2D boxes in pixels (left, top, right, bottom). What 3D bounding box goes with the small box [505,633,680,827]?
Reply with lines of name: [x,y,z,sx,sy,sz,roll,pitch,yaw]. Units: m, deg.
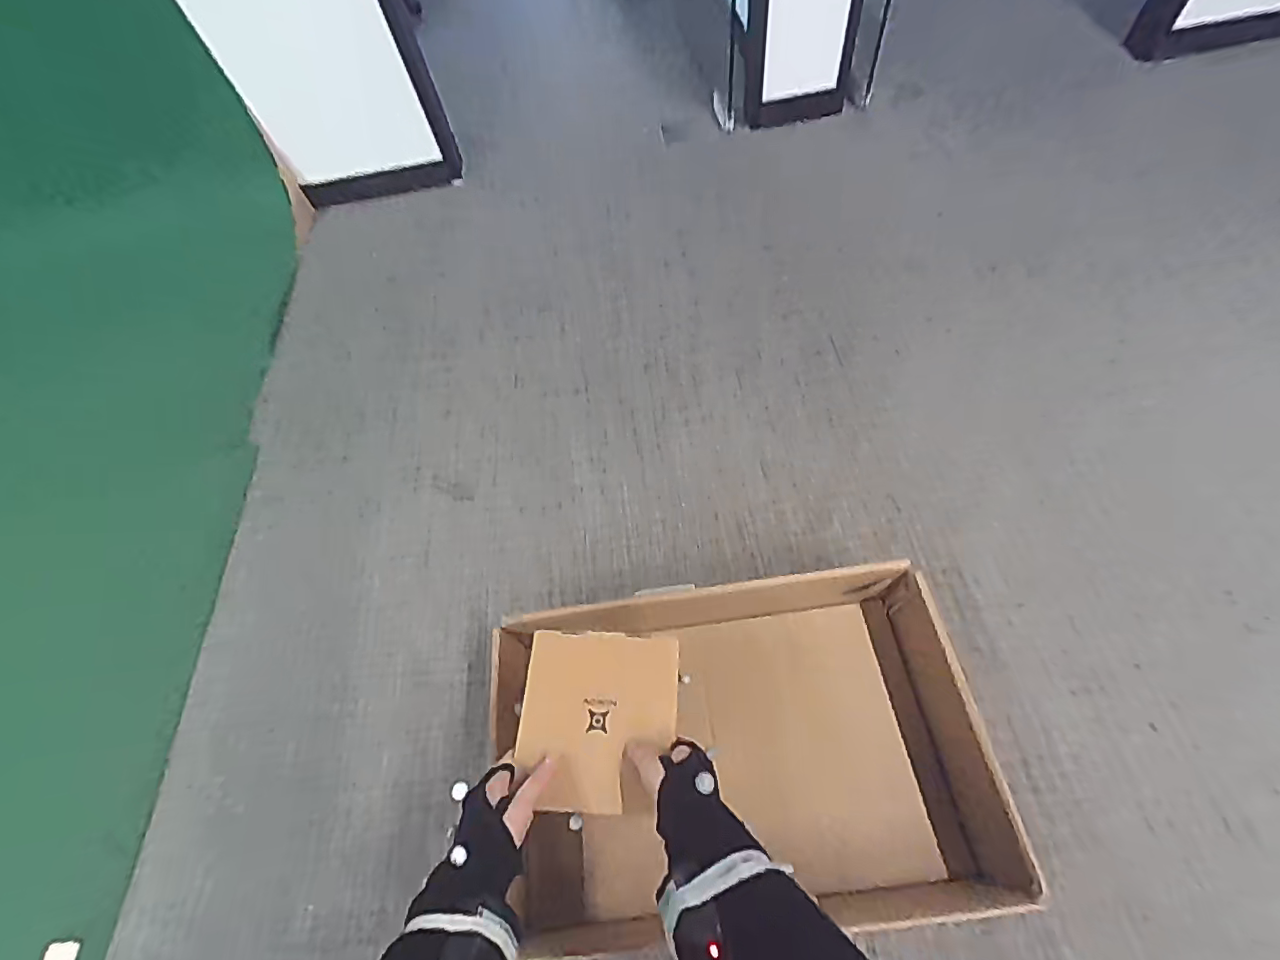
small box: [-0.039,0.291,0.623,0.168,0.176,0.179,2,57,4]
